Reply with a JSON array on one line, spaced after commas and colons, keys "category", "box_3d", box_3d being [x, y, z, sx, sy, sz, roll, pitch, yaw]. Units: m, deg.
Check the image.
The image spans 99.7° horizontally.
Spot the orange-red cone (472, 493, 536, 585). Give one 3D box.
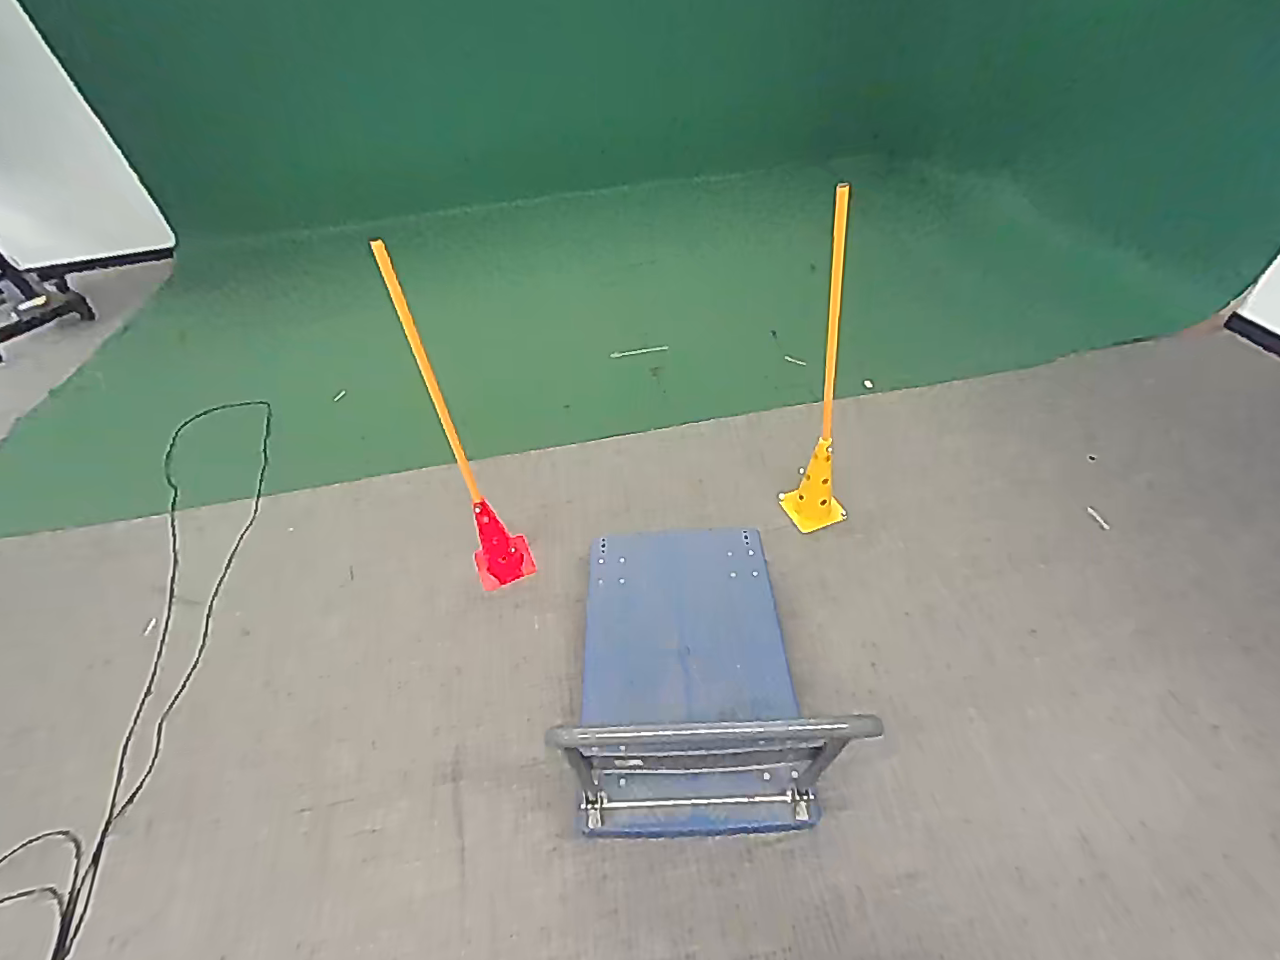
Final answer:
[{"category": "orange-red cone", "box_3d": [-0.520, 0.175, 1.901, 0.199, 0.360, 0.198, -22, 48, -12]}]
